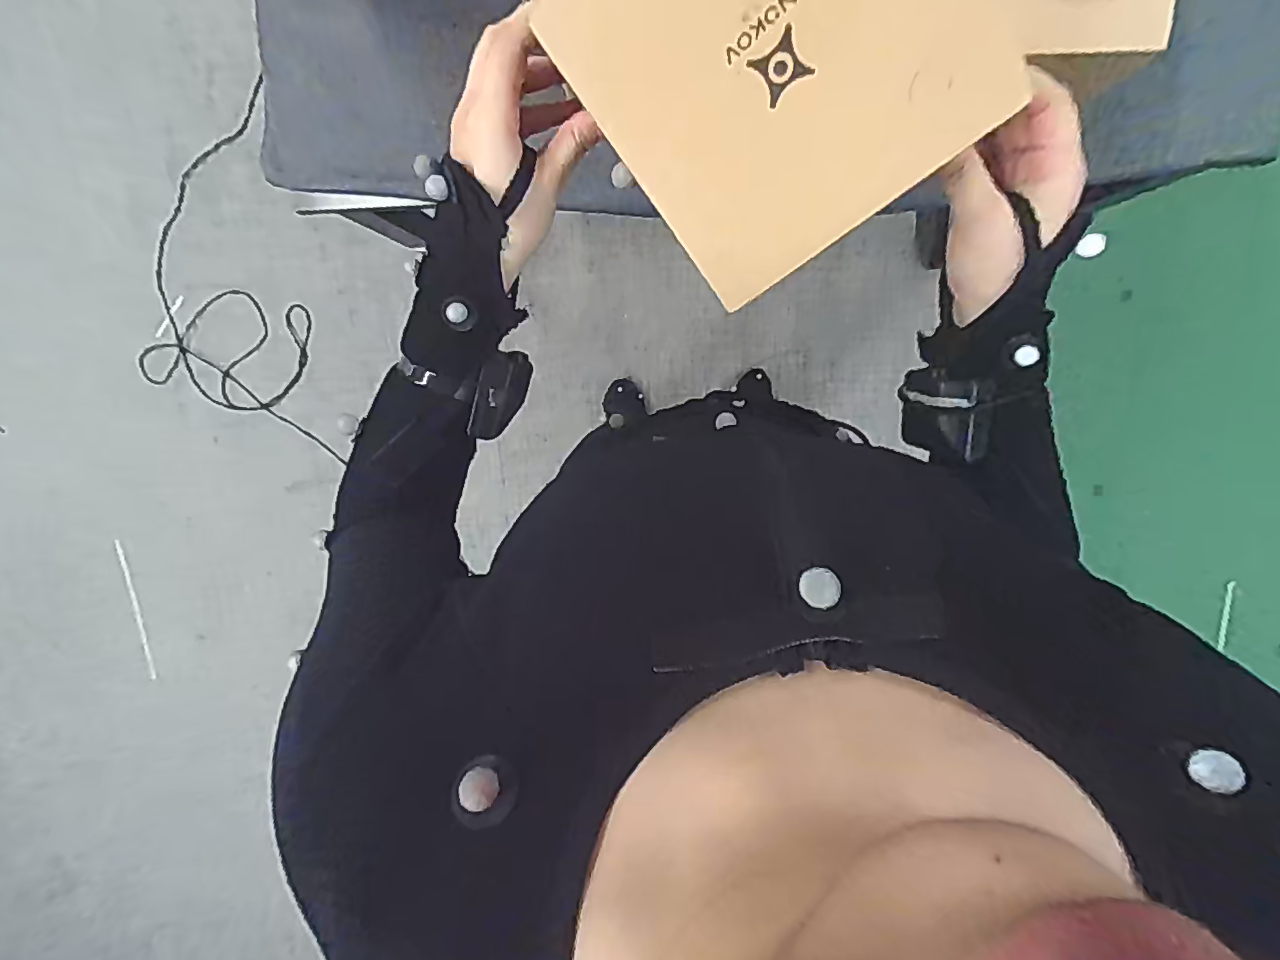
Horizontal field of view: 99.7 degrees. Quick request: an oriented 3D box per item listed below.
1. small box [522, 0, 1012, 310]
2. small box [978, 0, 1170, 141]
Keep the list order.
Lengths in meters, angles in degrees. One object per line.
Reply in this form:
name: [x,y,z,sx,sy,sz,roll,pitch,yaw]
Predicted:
small box: [0.069,-0.239,0.317,0.168,0.176,0.179,-31,114,25]
small box: [0.390,-0.478,0.553,0.168,0.176,0.179,1,100,4]
